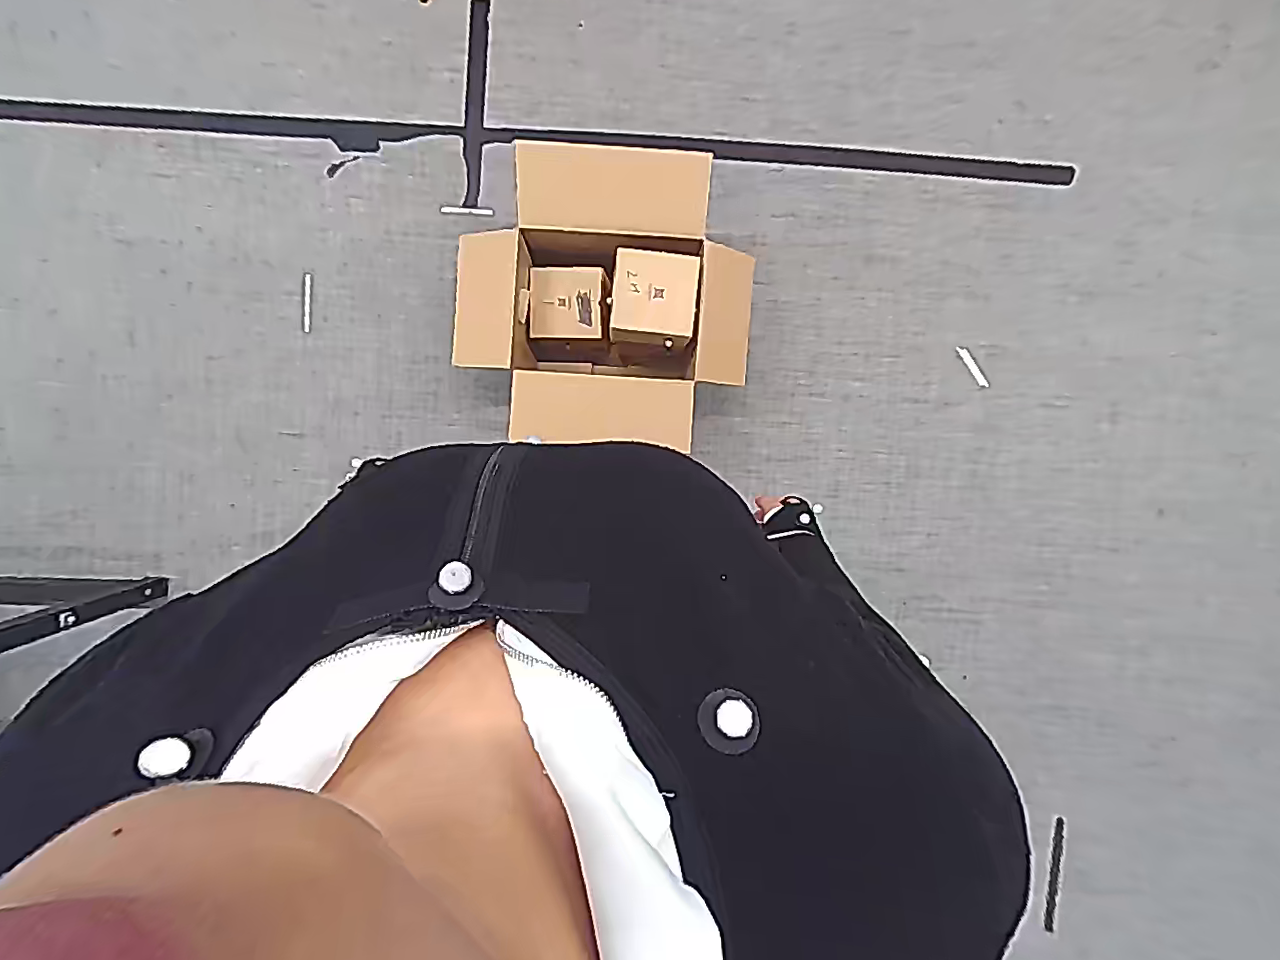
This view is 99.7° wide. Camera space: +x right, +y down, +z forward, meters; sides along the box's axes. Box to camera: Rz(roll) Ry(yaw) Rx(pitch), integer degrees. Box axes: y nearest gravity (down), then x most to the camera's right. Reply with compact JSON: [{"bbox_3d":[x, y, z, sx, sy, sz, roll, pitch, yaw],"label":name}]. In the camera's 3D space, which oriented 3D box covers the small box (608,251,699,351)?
[{"bbox_3d":[0.025,-0.388,1.201,0.179,0.176,0.168,6,93,-2],"label":"small box"}]
